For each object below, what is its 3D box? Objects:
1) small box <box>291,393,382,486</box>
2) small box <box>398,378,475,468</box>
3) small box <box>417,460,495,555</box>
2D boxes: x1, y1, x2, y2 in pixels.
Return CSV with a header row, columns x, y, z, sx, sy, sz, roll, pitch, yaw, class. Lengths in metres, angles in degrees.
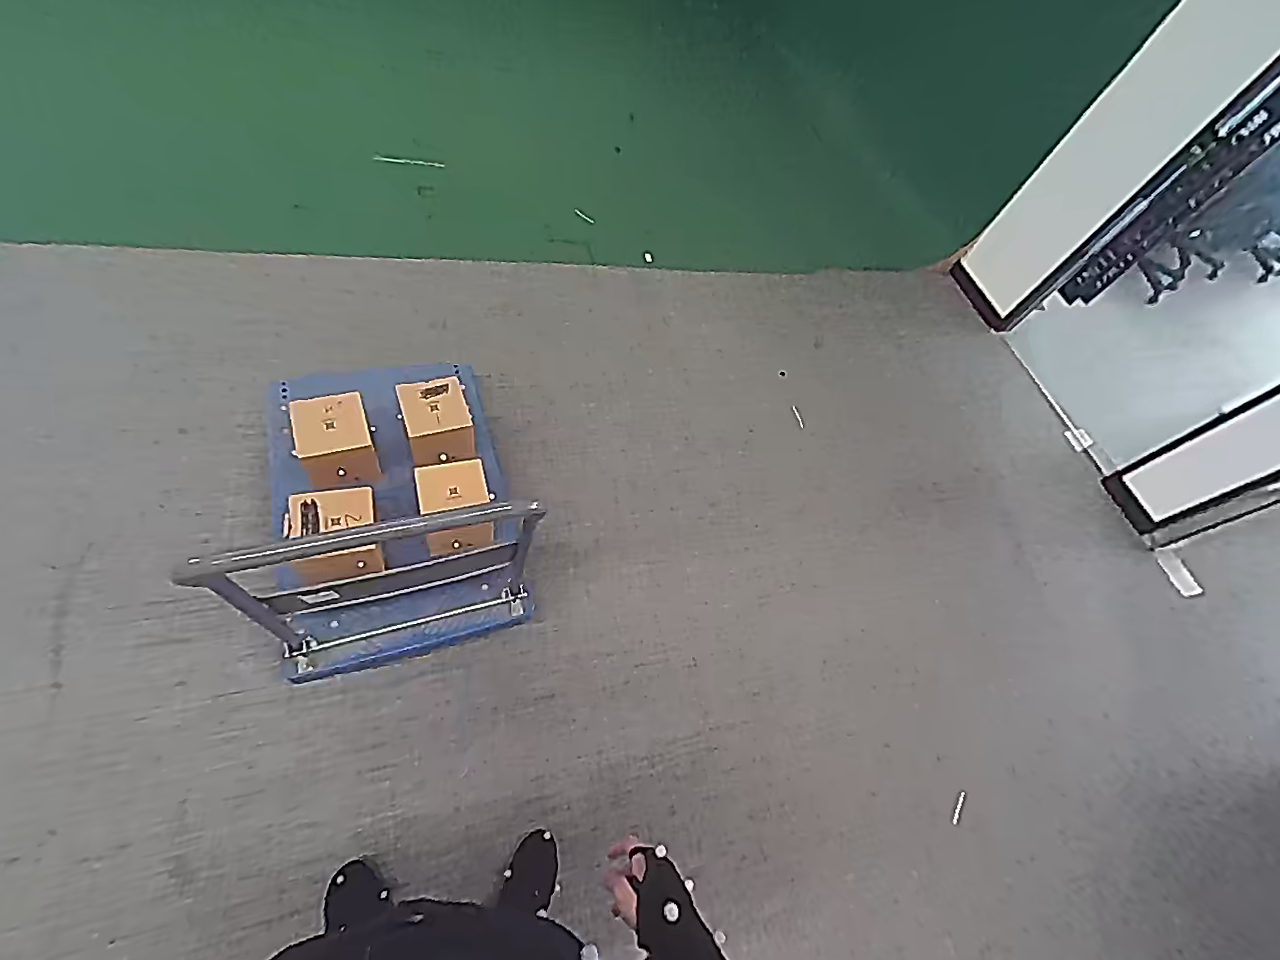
x,y,z,sx,sy,sz,roll,pitch,yaw,class
-0.792,-0.098,1.420,0.168,0.176,0.179,-14,65,-23,small box
-0.568,-0.158,1.518,0.168,0.176,0.179,-15,67,-22,small box
-0.480,0.073,1.409,0.168,0.176,0.179,-10,64,-21,small box
